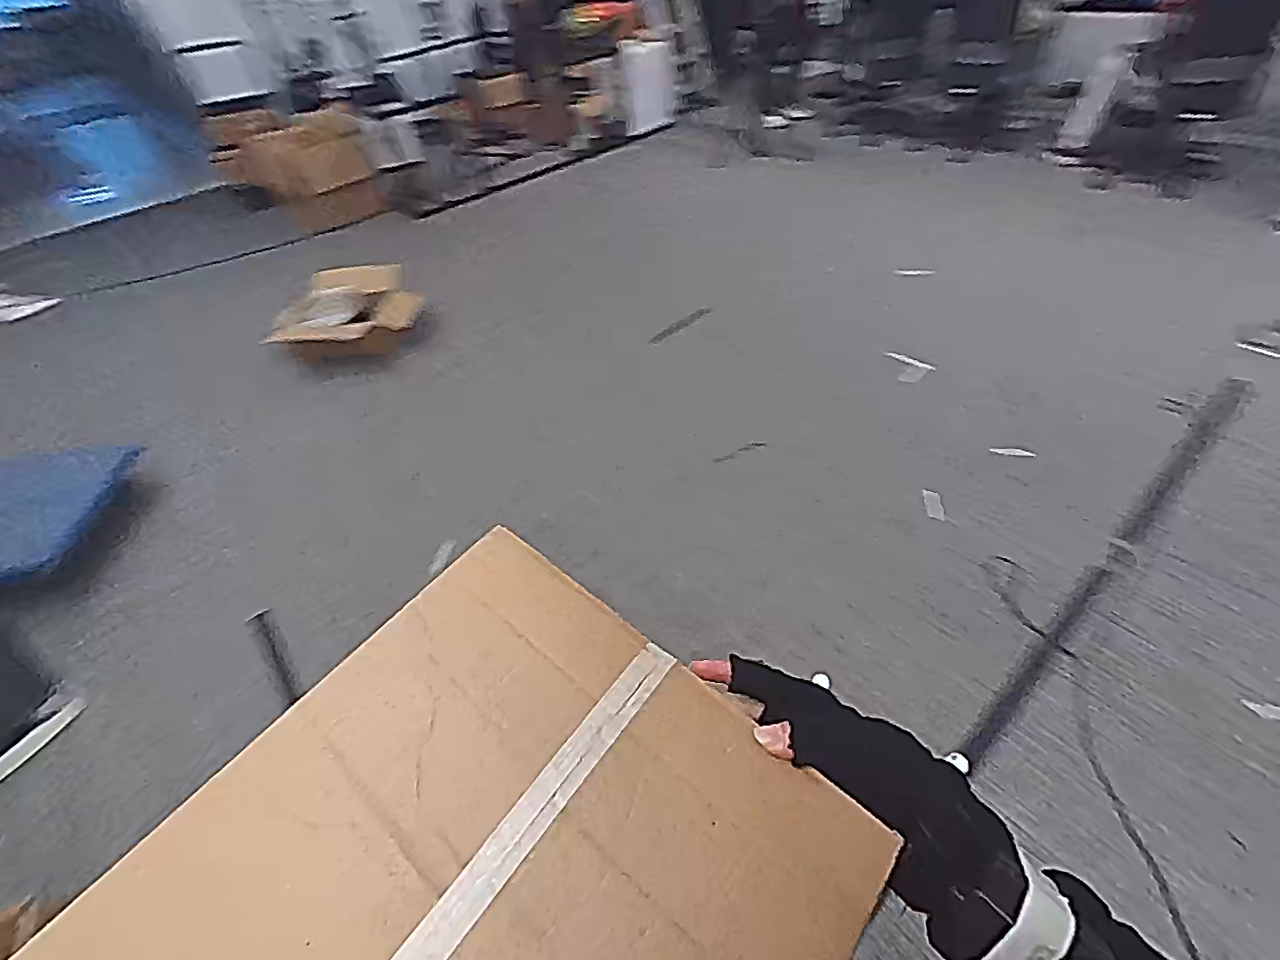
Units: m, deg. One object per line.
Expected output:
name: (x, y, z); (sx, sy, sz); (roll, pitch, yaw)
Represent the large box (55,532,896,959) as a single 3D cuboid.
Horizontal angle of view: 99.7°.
large box: (-0.094, 0.327, 0.390); (0.320, 0.320, 0.408); (34, 62, 23)
